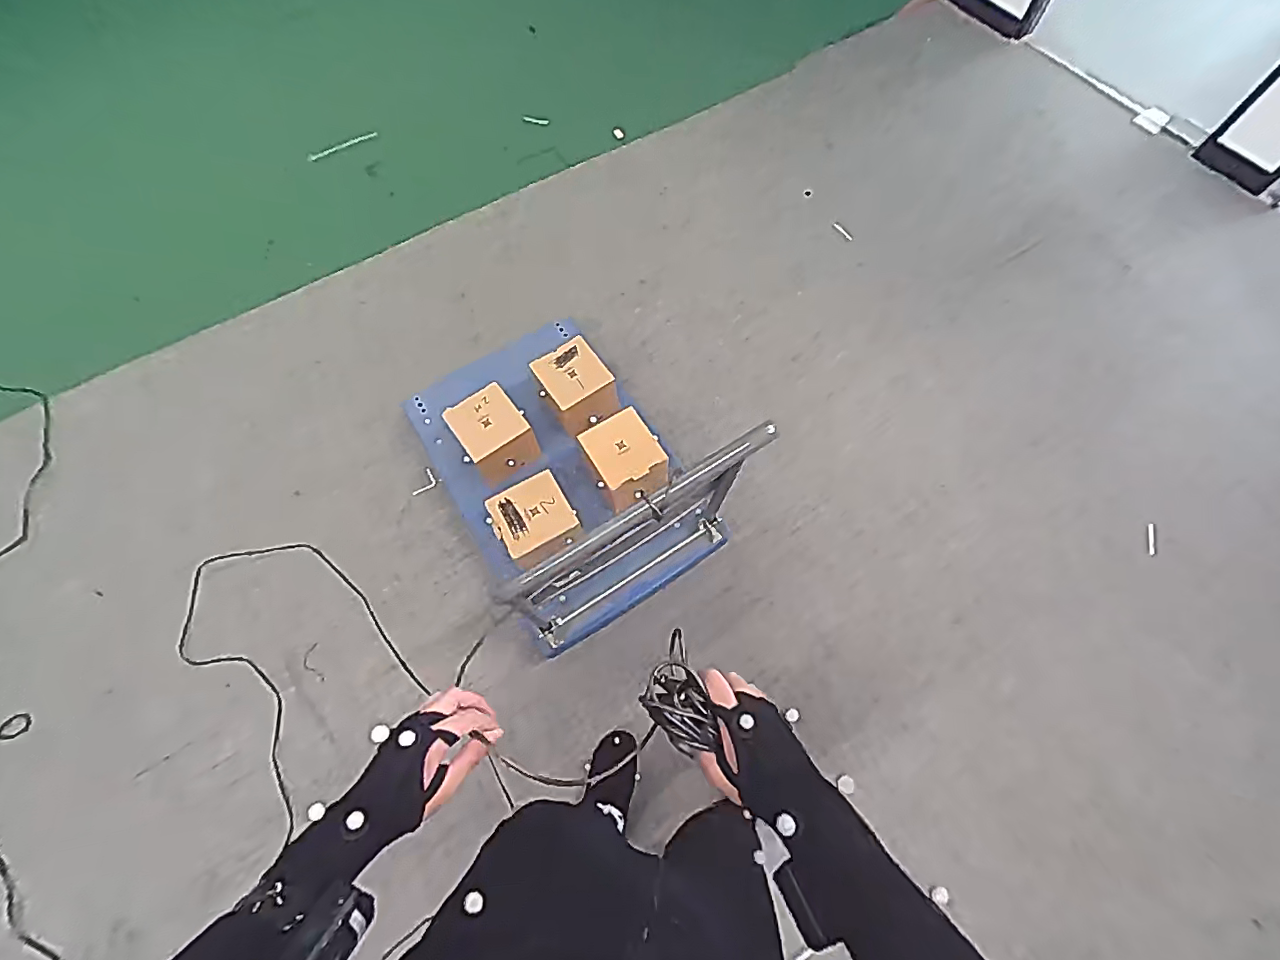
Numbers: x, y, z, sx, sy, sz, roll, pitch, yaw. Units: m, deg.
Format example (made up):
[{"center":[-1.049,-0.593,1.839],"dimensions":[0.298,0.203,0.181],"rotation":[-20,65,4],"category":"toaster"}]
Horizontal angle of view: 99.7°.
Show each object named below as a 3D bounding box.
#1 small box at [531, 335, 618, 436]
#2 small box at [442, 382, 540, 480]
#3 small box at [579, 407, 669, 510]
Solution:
[{"center":[-0.175,-0.255,1.487],"dimensions":[0.168,0.176,0.179],"rotation":[-33,72,-11],"category":"small box"},{"center":[-0.386,-0.120,1.434],"dimensions":[0.168,0.176,0.179],"rotation":[-34,71,-13],"category":"small box"},{"center":[-0.041,-0.050,1.405],"dimensions":[0.168,0.176,0.179],"rotation":[-30,71,-11],"category":"small box"}]
